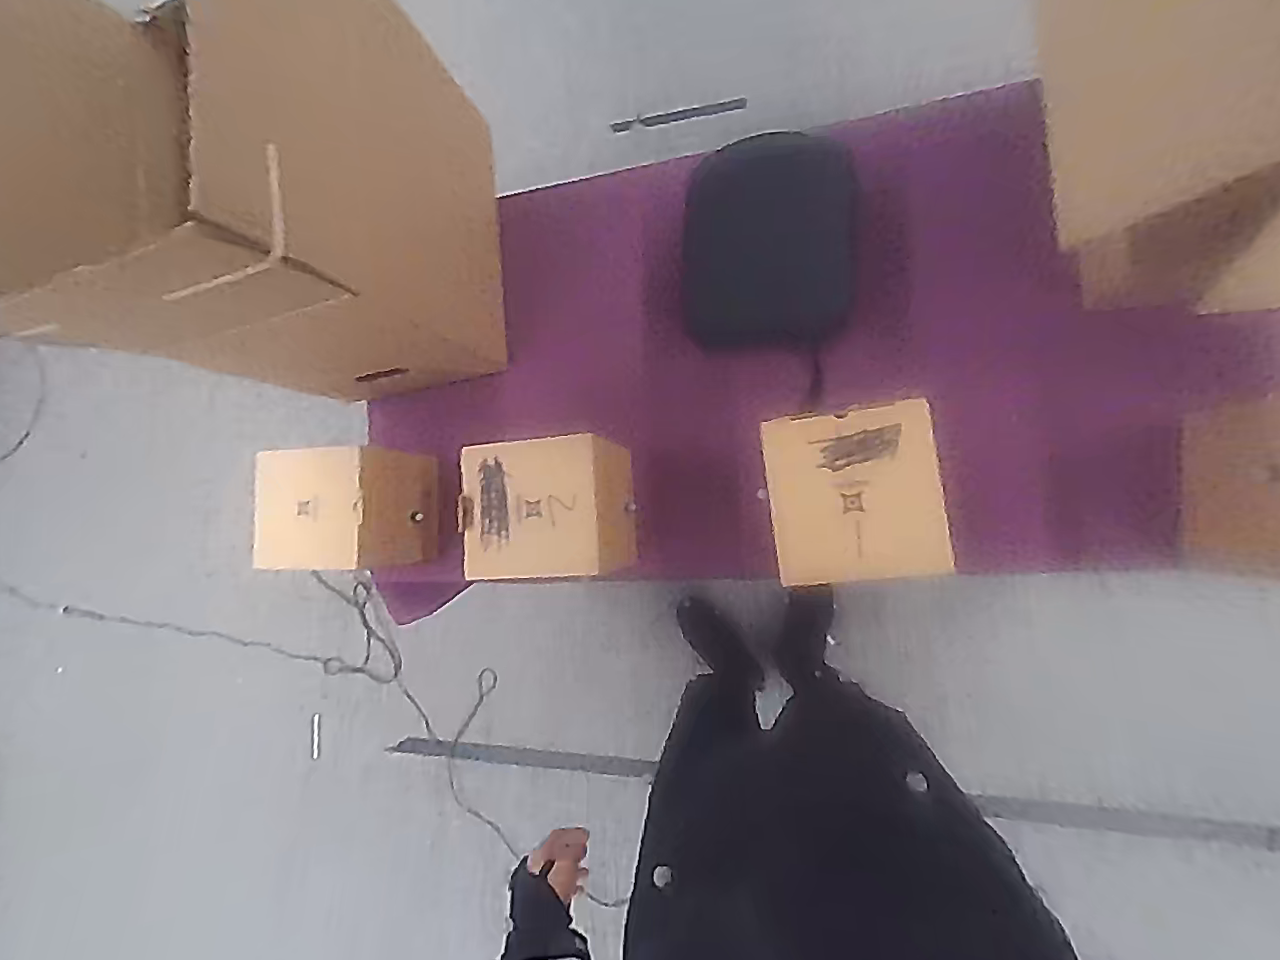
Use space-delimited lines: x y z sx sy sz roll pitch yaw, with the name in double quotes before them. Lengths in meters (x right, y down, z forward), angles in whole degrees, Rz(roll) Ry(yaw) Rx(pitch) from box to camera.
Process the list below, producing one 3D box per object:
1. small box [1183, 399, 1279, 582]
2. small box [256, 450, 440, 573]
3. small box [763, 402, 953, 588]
"small box" 0.659 0.013 0.502 0.168 0.176 0.179 3 87 17
"small box" -0.425 0.050 0.805 0.179 0.176 0.168 -3 85 14
"small box" 0.235 0.022 0.623 0.168 0.176 0.179 -8 85 15
